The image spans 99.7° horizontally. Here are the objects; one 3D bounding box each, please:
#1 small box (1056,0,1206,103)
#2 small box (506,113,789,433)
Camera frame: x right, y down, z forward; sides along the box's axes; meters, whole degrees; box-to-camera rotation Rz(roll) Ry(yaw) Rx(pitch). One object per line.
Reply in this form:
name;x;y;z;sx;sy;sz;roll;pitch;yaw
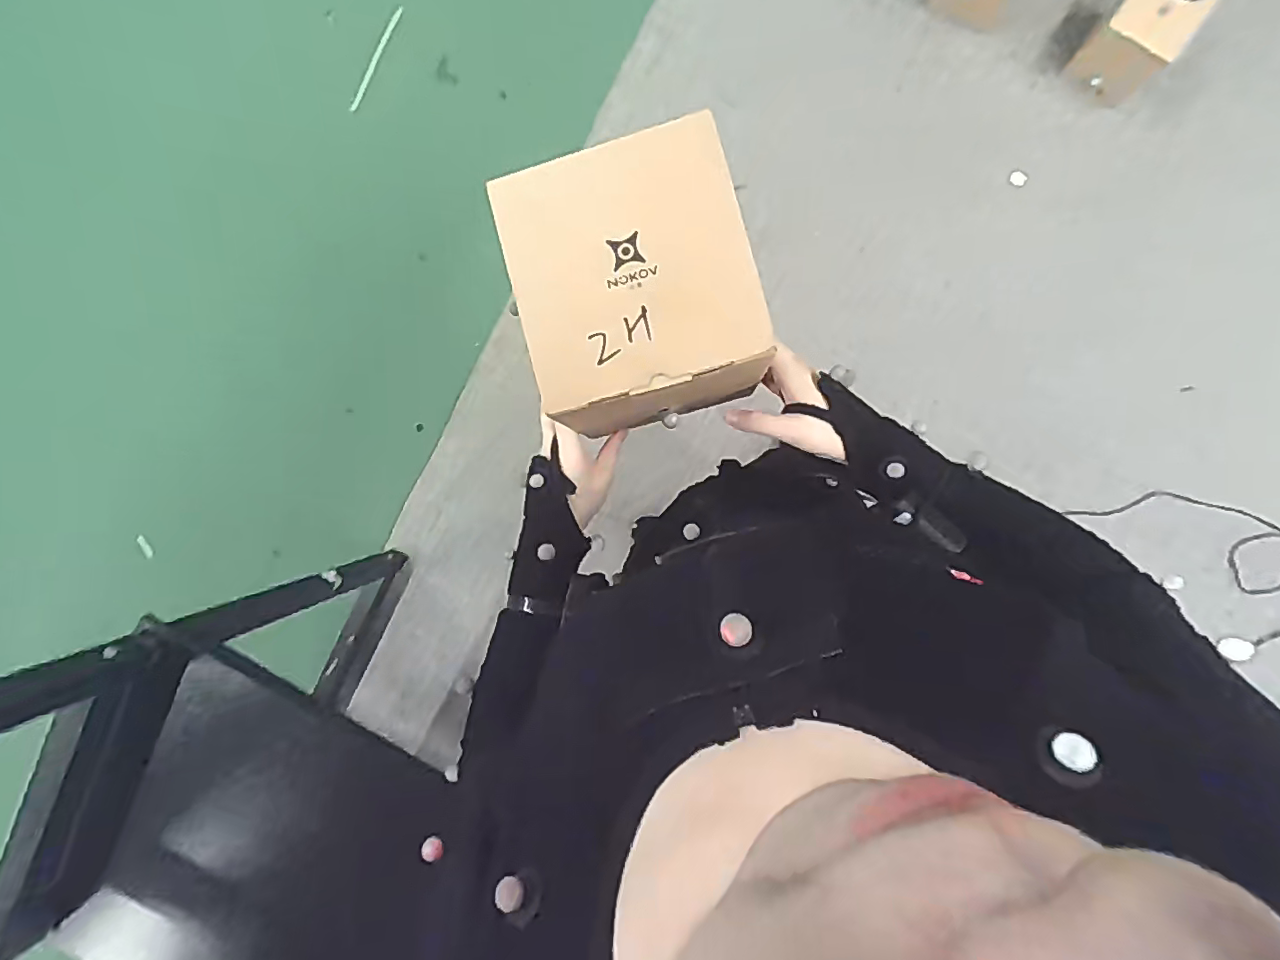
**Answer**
small box;1.141;-1.049;1.270;0.168;0.176;0.179;35;97;2
small box;0.009;-0.148;0.451;0.168;0.176;0.179;-14;88;5
